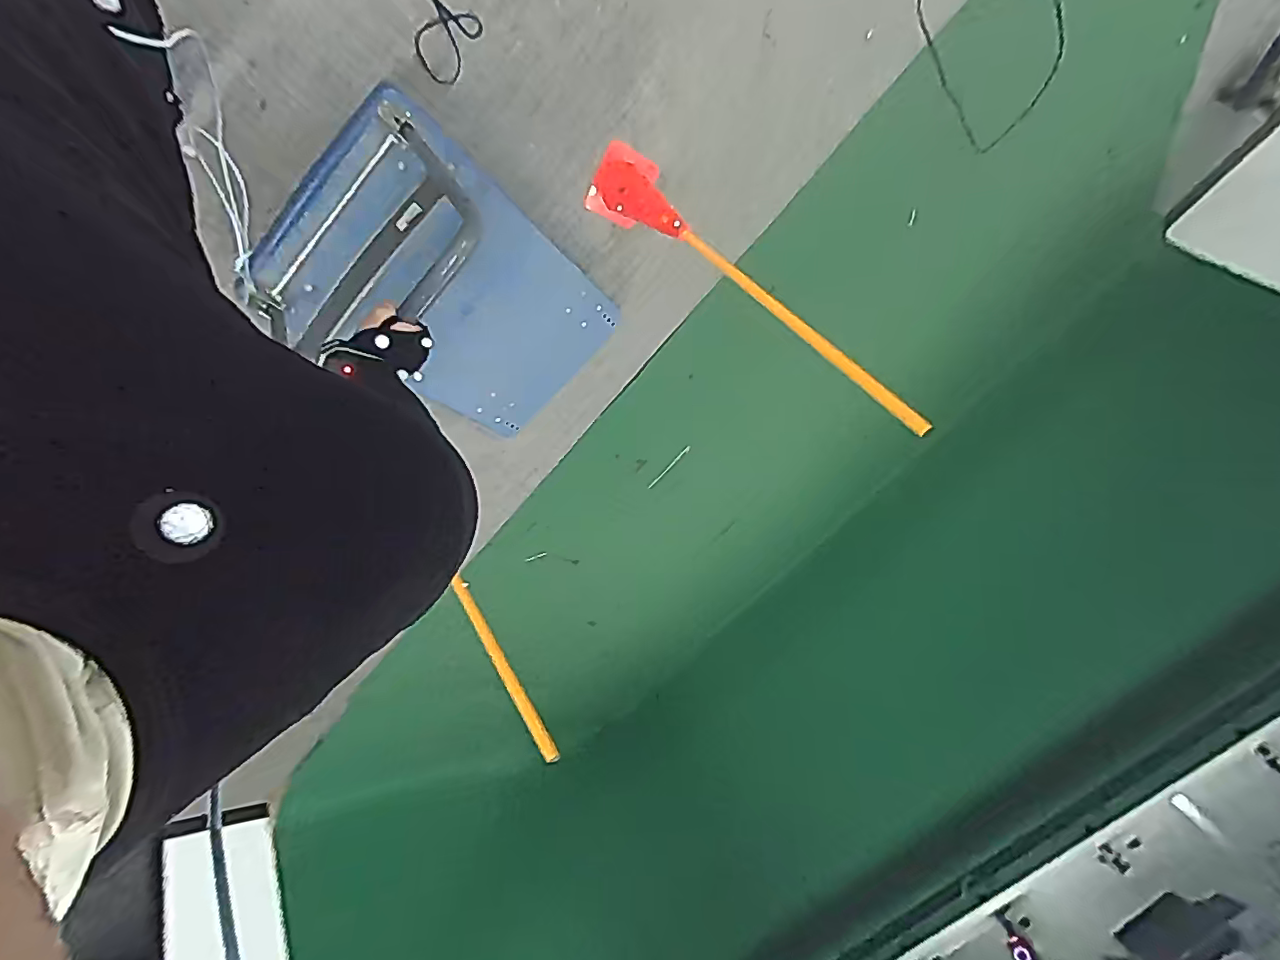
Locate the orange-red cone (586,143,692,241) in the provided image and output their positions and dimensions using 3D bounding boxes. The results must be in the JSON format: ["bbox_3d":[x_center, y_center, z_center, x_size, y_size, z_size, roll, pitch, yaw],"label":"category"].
[{"bbox_3d":[0.035,-0.780,1.552,0.198,0.360,0.199,5,127,-46],"label":"orange-red cone"}]
